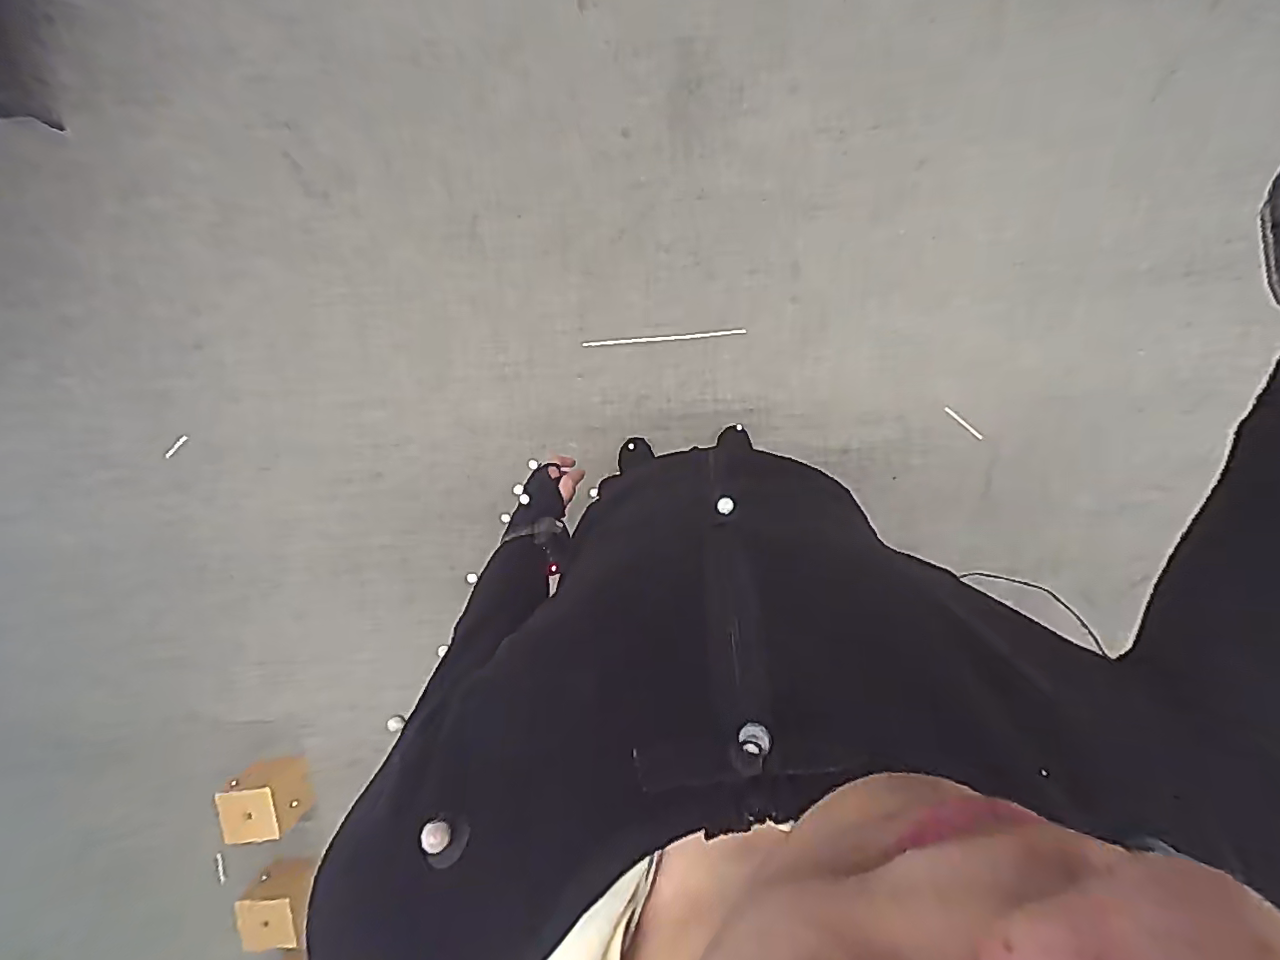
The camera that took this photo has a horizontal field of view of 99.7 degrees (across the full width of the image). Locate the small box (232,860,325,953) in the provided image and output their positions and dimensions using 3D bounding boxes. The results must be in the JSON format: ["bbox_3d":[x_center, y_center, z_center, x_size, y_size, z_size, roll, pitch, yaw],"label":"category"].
[{"bbox_3d":[-1.137,1.343,1.710,0.179,0.176,0.168,-5,95,3],"label":"small box"}]

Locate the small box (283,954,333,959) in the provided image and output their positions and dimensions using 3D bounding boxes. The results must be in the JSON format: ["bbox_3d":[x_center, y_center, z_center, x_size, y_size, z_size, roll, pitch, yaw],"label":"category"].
[{"bbox_3d":[-1.106,1.669,1.733,0.179,0.176,0.168,-5,94,4],"label":"small box"}]

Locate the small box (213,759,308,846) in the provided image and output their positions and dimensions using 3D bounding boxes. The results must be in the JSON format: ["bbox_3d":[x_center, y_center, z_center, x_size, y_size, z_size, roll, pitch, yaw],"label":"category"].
[{"bbox_3d":[-1.168,0.996,1.684,0.179,0.176,0.168,-8,94,4],"label":"small box"}]
